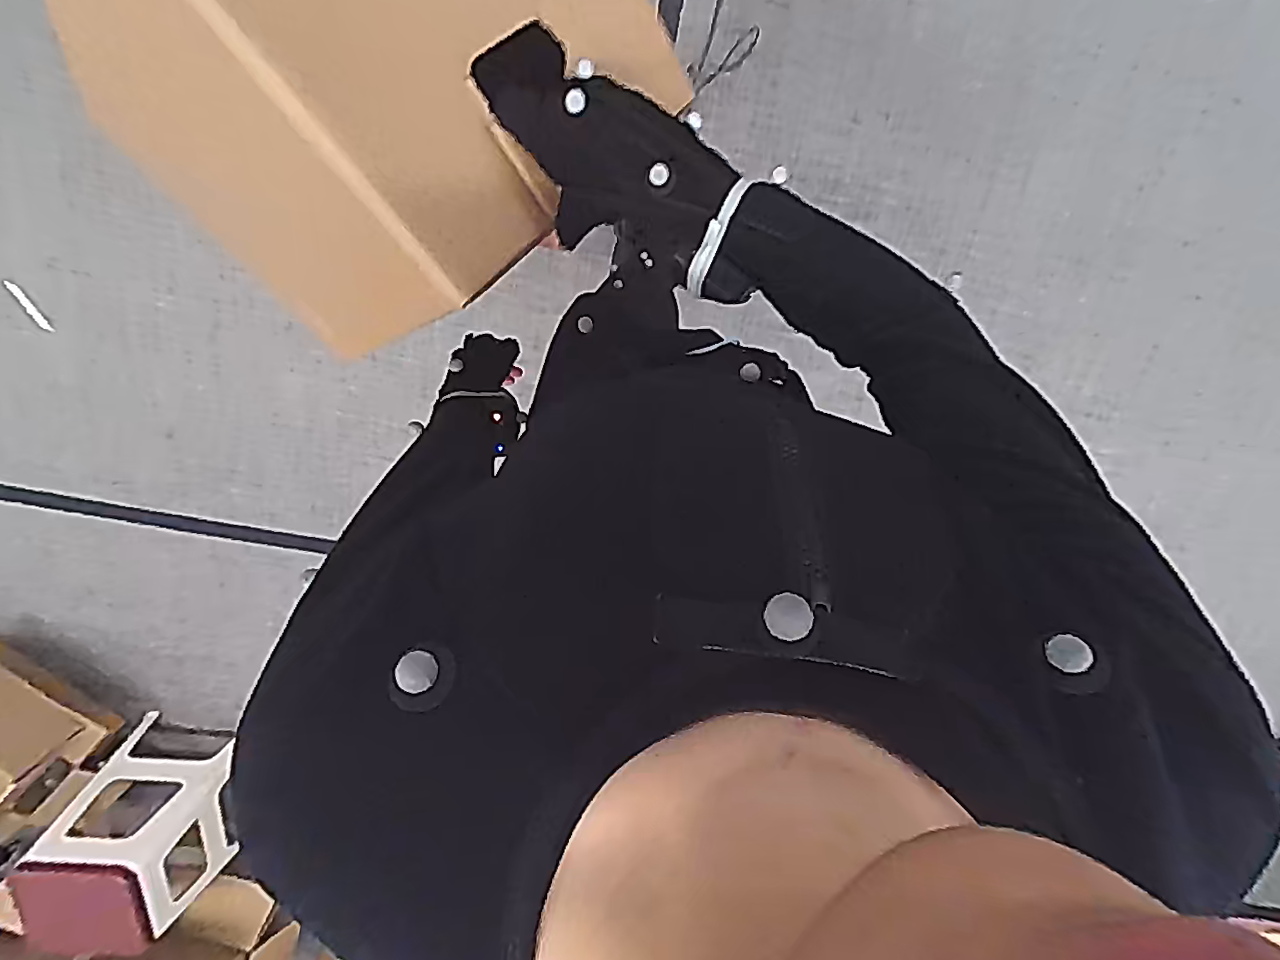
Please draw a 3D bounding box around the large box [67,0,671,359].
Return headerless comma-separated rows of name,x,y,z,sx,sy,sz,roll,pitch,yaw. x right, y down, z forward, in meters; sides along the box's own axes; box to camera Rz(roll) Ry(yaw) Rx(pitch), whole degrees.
large box,-0.254,-0.353,0.529,0.320,0.408,0.320,-52,122,-23
